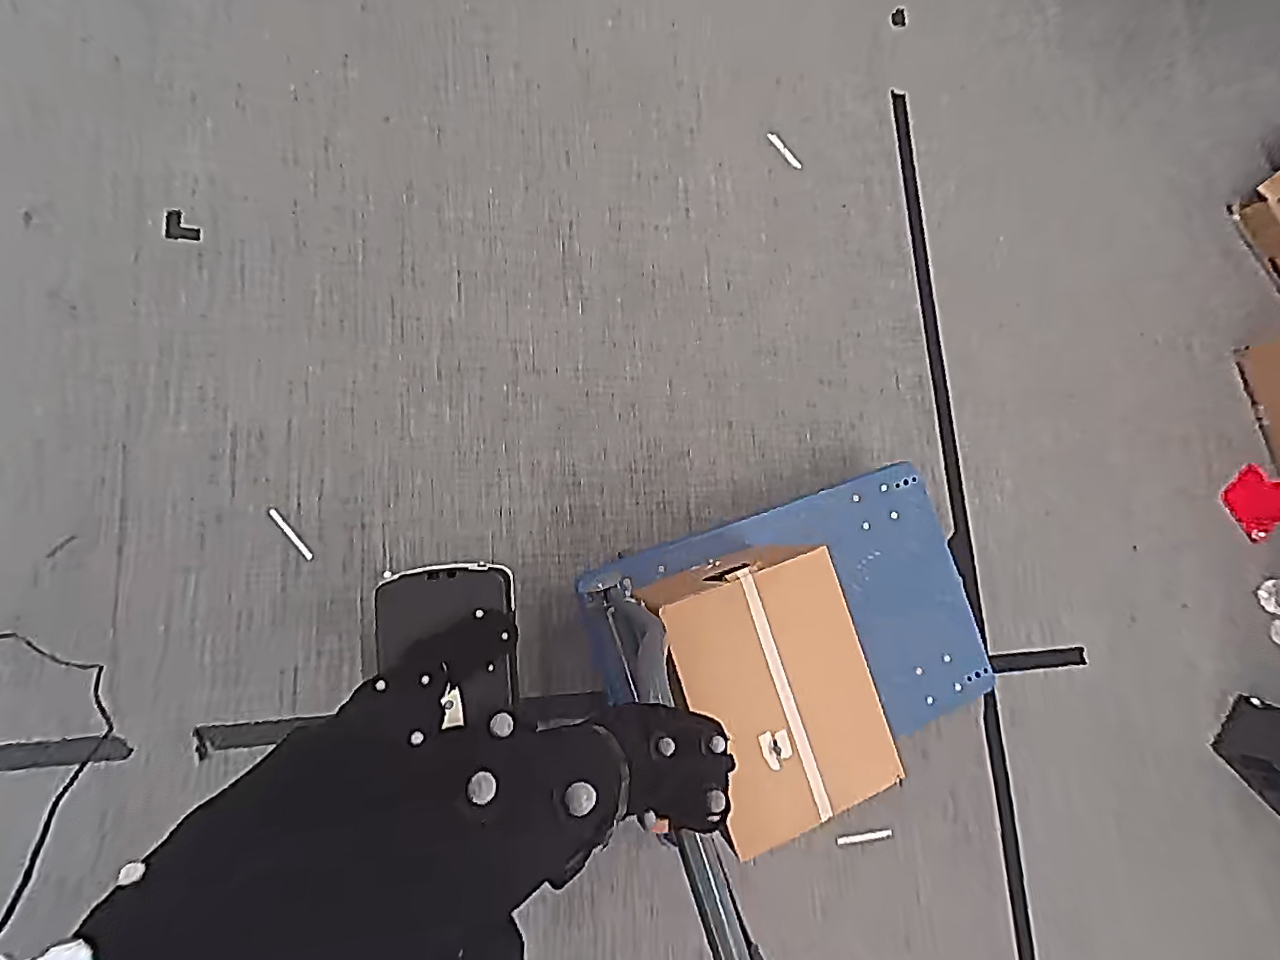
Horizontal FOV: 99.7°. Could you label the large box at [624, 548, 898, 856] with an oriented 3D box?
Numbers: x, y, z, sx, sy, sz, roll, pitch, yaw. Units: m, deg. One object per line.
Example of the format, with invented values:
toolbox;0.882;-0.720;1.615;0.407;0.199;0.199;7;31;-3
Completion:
large box;0.196;0.365;1.017;0.320;0.320;0.408;-17;87;-13
